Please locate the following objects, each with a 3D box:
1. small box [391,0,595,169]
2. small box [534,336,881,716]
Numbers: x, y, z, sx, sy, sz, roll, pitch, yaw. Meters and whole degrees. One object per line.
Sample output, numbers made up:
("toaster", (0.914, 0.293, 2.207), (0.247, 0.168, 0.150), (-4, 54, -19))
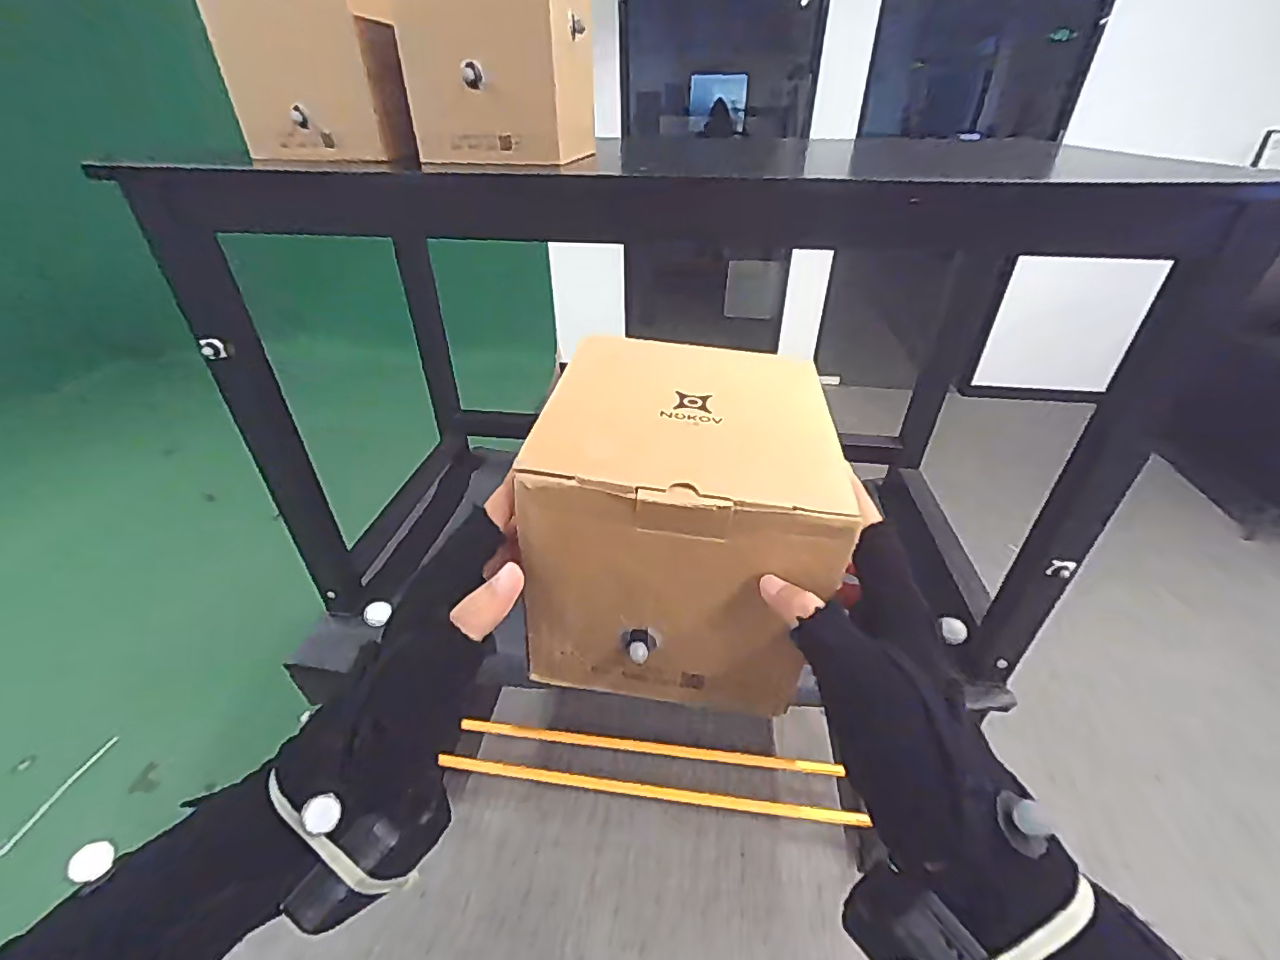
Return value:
("small box", (-0.147, -0.458, 0.615), (0.168, 0.176, 0.179), (6, 35, 7))
("small box", (0.032, 0.024, 0.362), (0.168, 0.176, 0.179), (7, 38, 3))
